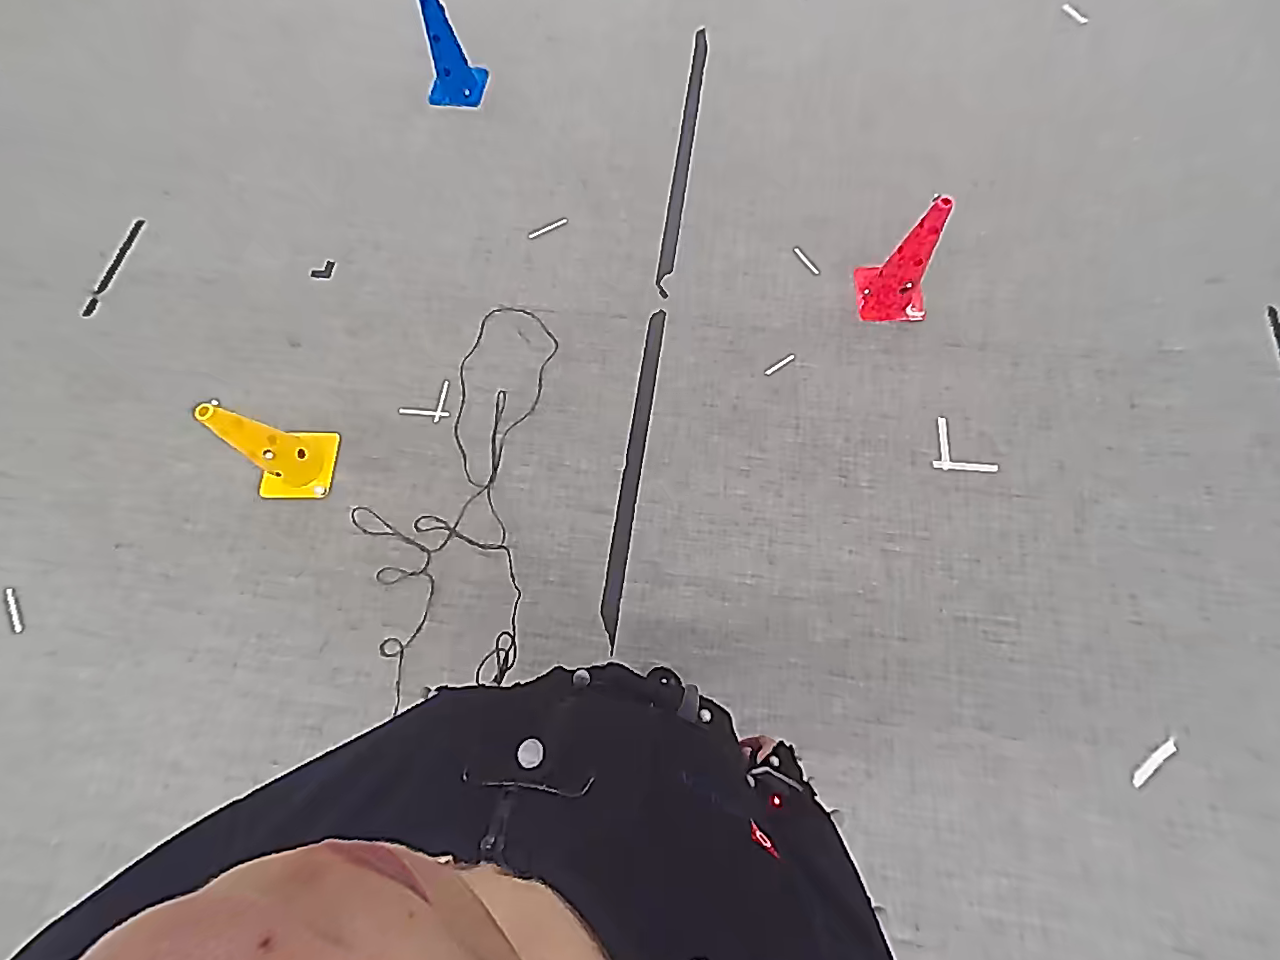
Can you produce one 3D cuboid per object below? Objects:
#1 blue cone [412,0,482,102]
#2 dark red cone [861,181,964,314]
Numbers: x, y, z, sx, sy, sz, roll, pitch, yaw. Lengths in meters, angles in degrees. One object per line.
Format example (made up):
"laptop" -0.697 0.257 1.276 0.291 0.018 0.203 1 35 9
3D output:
"blue cone" -0.699 -1.534 1.863 0.192 0.380 0.193 7 72 6
"dark red cone" 0.768 -0.642 1.475 0.201 0.394 0.202 -1 71 3
